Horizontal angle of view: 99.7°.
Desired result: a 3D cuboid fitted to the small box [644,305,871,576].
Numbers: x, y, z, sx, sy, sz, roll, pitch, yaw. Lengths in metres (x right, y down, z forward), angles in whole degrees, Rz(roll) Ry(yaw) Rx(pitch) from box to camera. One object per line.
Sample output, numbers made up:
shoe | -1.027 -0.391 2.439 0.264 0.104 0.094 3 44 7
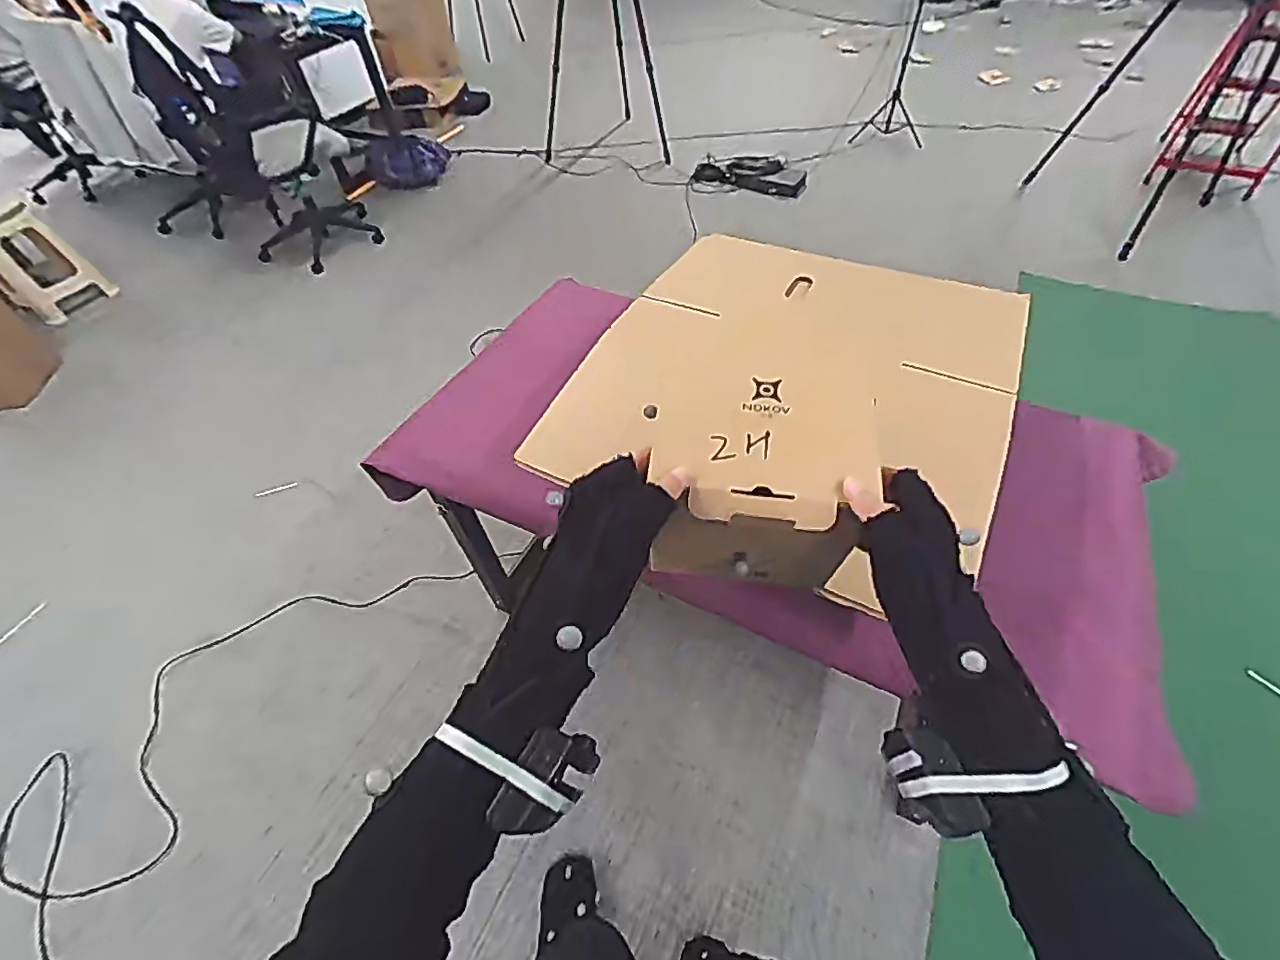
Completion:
small box | 0.097 -0.031 0.497 0.168 0.176 0.179 6 61 6
